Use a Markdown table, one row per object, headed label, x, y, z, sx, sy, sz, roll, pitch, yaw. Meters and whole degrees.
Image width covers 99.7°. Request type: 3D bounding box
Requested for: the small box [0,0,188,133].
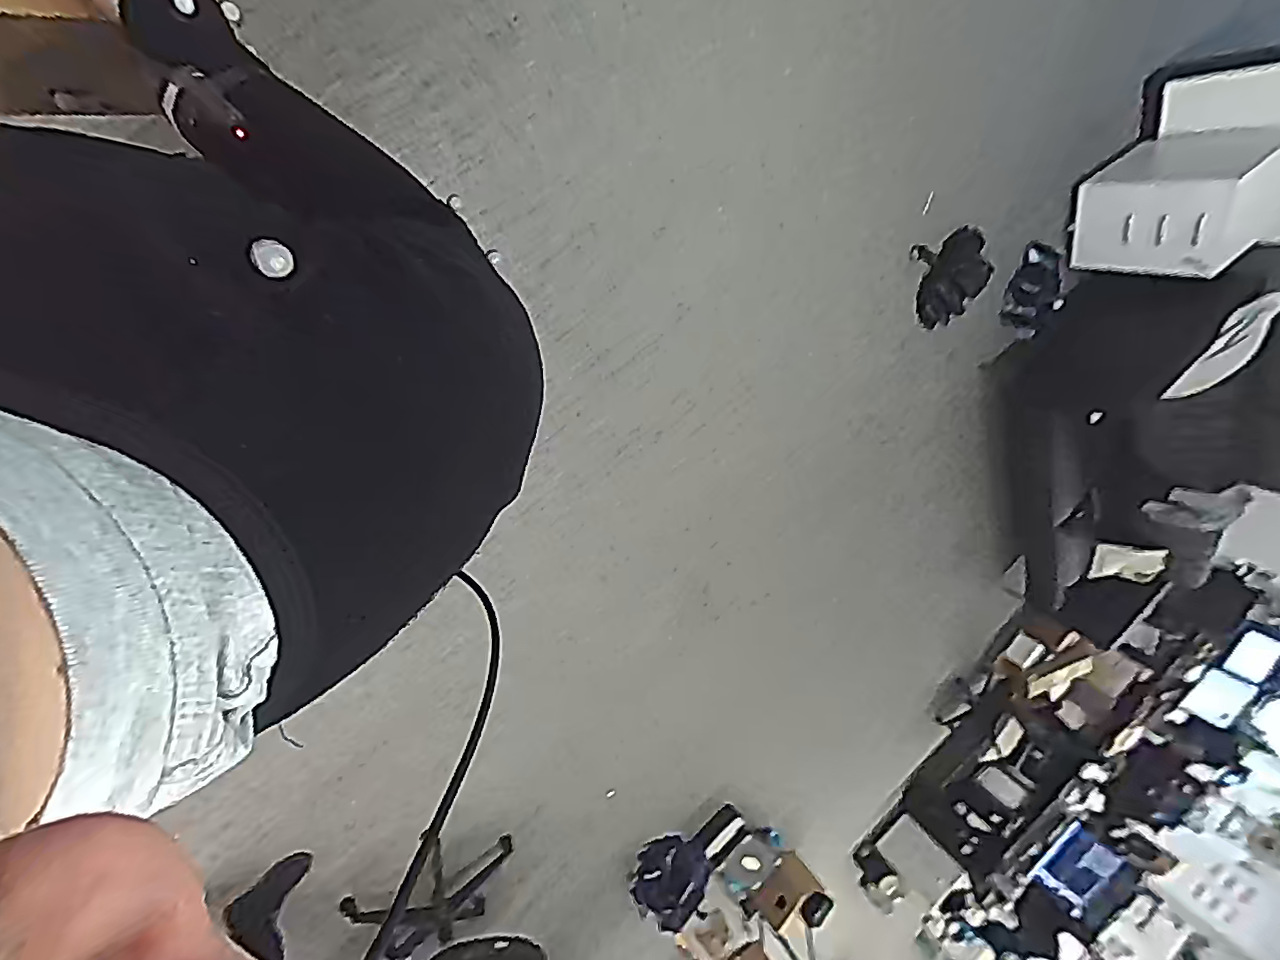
| label | x | y | z | sx | sy | sz | roll | pitch | yaw |
| --- | --- | --- | --- | --- | --- | --- | --- | --- | --- |
| small box | -0.531 | -0.431 | 0.462 | 0.168 | 0.176 | 0.179 | -20 | 105 | -26 |
